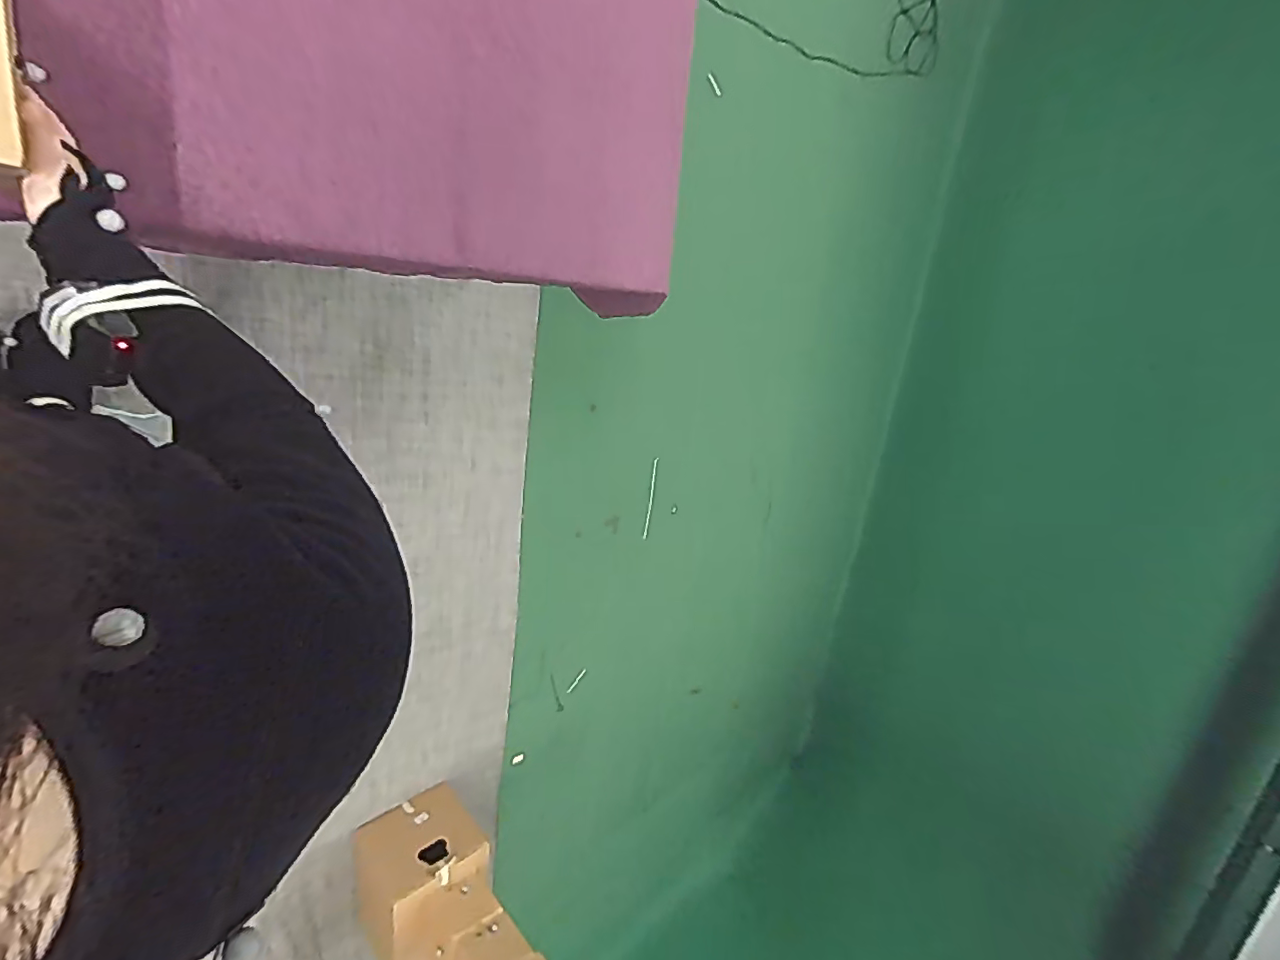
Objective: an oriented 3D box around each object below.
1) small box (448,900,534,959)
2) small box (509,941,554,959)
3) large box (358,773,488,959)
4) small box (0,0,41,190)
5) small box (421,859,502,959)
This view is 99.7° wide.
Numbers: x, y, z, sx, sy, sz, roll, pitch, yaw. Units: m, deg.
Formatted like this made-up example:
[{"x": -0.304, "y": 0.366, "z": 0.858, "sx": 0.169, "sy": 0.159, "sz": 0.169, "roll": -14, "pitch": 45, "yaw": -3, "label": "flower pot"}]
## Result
[{"x": -0.441, "y": 1.393, "z": 1.578, "sx": 0.168, "sy": 0.176, "sz": 0.179, "roll": 9, "pitch": 99, "yaw": -50, "label": "small box"}, {"x": -0.317, "y": 1.435, "z": 1.477, "sx": 0.179, "sy": 0.176, "sz": 0.168, "roll": 11, "pitch": 99, "yaw": -50, "label": "small box"}, {"x": -0.739, "y": 1.317, "z": 1.845, "sx": 0.320, "sy": 0.320, "sz": 0.408, "roll": -10, "pitch": 115, "yaw": -44, "label": "large box"}, {"x": -0.528, "y": -0.313, "z": 0.357, "sx": 0.168, "sy": 0.176, "sz": 0.179, "roll": -7, "pitch": 111, "yaw": -45, "label": "small box"}, {"x": -0.558, "y": 1.338, "z": 1.677, "sx": 0.168, "sy": 0.176, "sz": 0.179, "roll": 4, "pitch": 103, "yaw": -49, "label": "small box"}]
